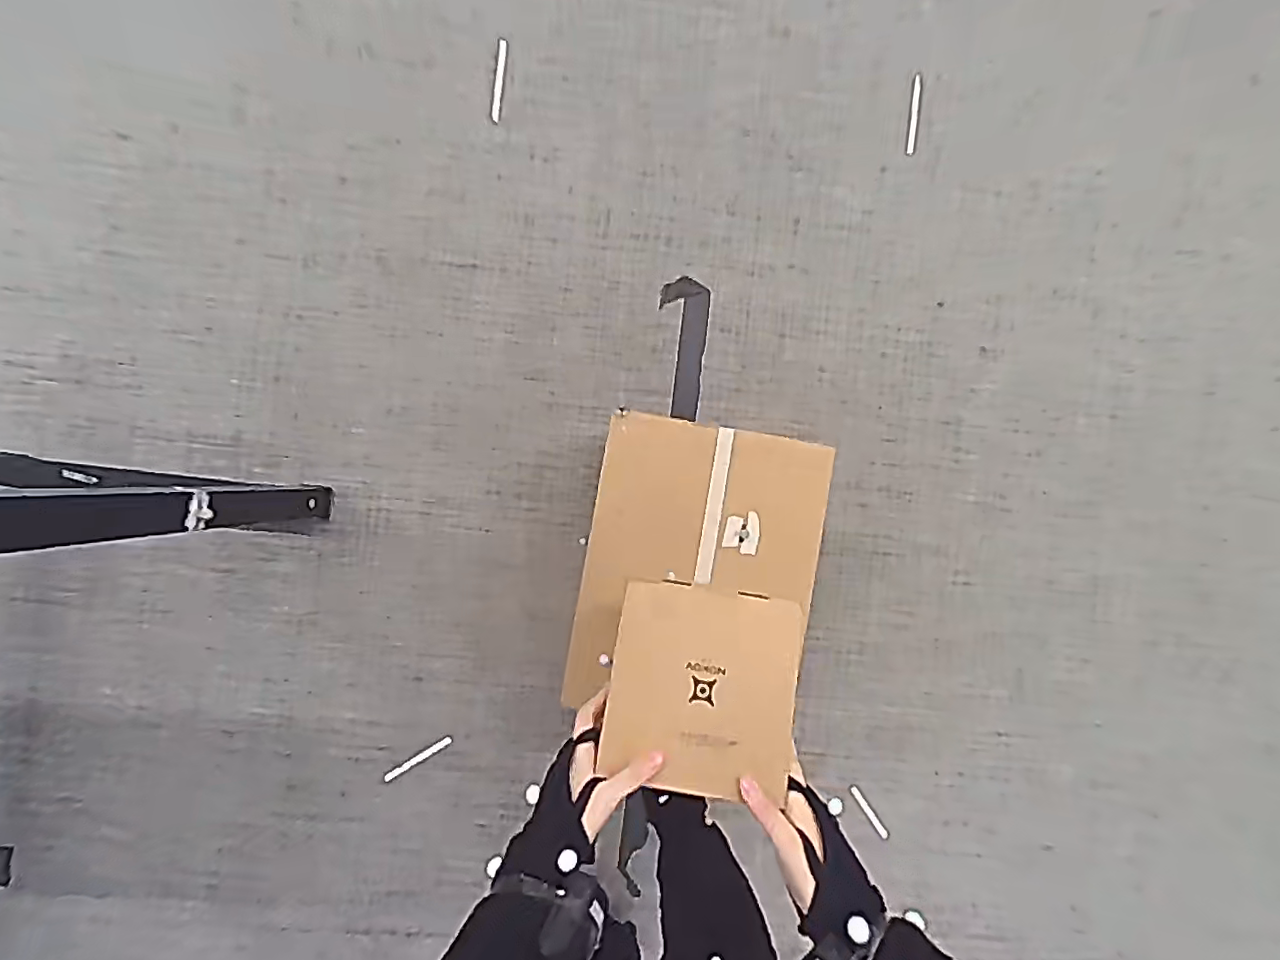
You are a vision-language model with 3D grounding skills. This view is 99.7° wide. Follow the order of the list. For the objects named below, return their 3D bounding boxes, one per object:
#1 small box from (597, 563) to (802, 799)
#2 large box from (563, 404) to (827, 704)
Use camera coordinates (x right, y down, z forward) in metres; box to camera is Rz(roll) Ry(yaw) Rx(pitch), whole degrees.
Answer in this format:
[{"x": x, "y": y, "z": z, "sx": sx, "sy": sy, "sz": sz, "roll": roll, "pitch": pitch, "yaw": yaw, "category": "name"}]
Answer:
[{"x": 0.052, "y": 0.193, "z": 0.555, "sx": 0.168, "sy": 0.176, "sz": 0.179, "roll": 10, "pitch": 76, "yaw": 0, "category": "small box"}, {"x": 0.070, "y": 0.122, "z": 0.872, "sx": 0.320, "sy": 0.320, "sz": 0.408, "roll": 10, "pitch": 88, "yaw": -4, "category": "large box"}]
